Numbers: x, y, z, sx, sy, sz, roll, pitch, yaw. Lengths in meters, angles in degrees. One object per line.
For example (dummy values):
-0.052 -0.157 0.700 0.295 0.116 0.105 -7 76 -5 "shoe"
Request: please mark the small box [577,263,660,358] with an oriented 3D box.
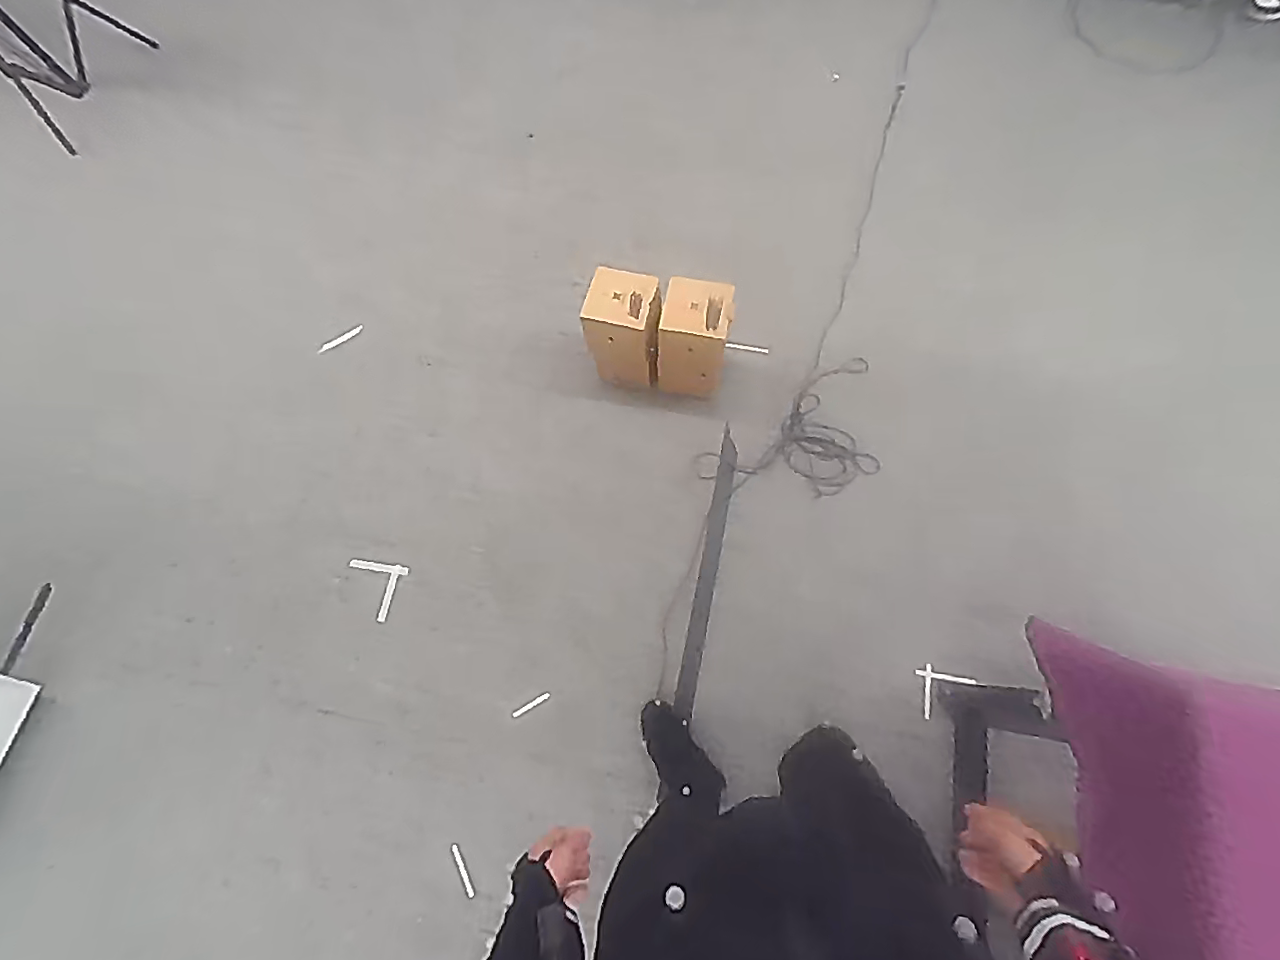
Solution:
-0.049 -0.451 1.458 0.179 0.176 0.168 14 73 10 "small box"
